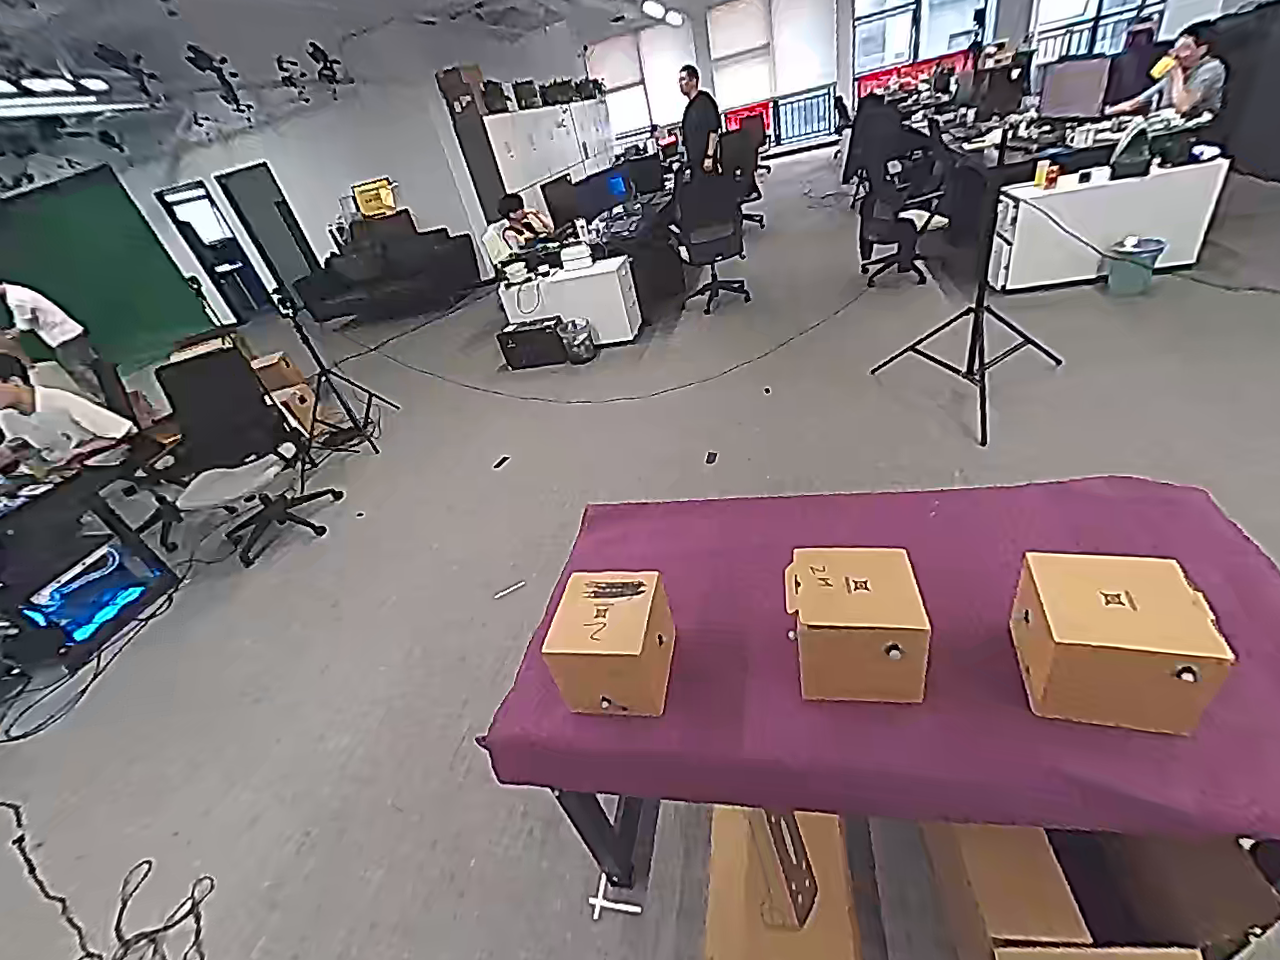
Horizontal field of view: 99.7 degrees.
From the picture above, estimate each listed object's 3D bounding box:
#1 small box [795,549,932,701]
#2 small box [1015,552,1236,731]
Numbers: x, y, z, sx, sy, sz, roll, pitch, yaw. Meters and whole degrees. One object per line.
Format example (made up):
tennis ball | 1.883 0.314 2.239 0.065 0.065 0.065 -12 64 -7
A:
small box | 0.340 0.228 0.853 0.179 0.176 0.168 -4 33 16
small box | 0.641 0.220 0.749 0.179 0.176 0.168 0 36 21
